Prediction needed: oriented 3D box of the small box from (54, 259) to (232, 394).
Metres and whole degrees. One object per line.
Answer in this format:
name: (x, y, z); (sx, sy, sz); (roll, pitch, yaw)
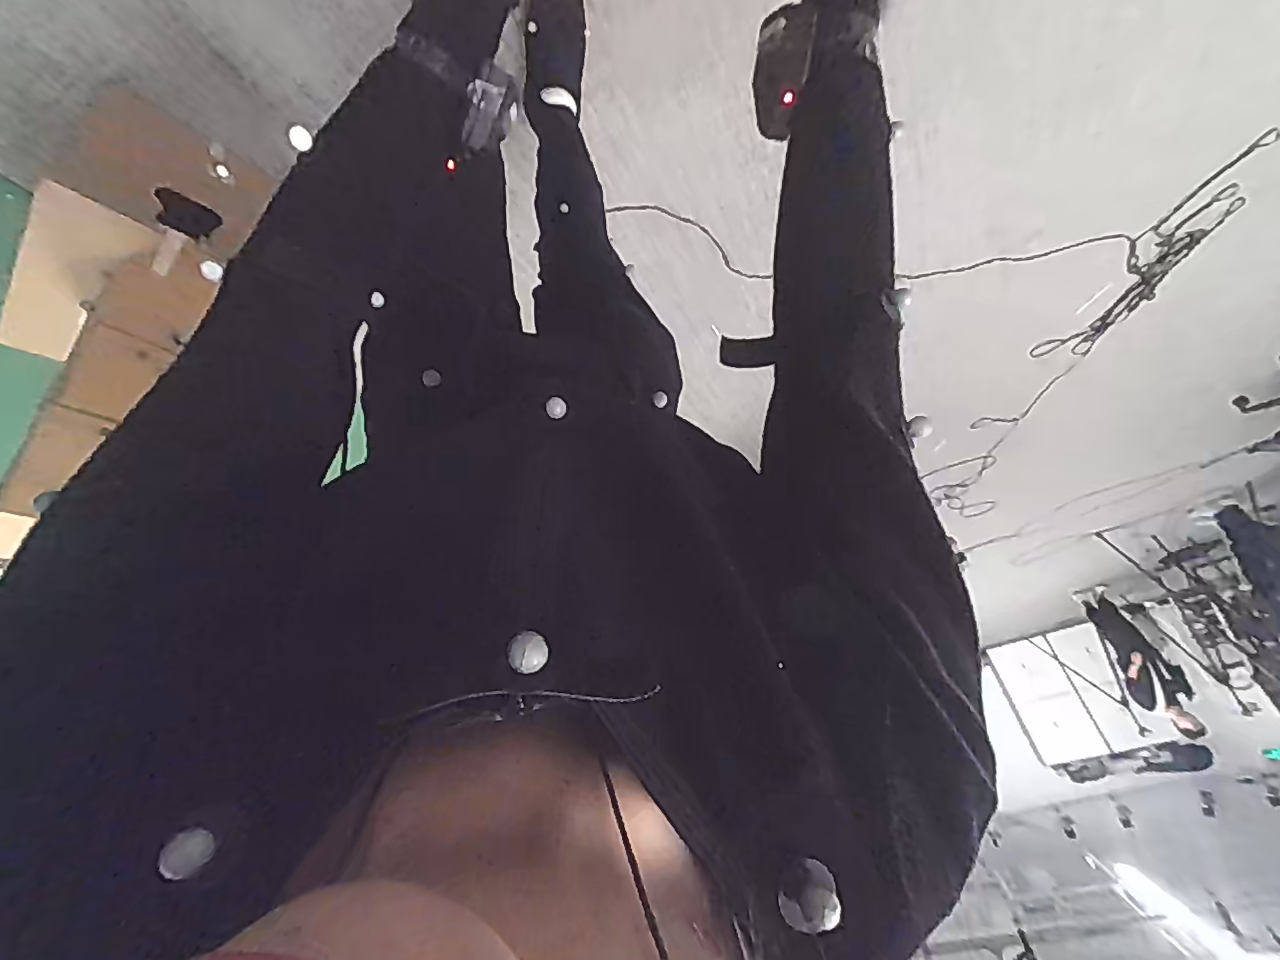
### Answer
small box: (-0.833, -0.232, 0.915); (0.168, 0.176, 0.179); (-30, 146, 24)

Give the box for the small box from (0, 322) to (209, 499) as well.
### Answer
small box: (-0.800, -0.100, 0.825); (0.179, 0.176, 0.168); (-29, 146, 22)
